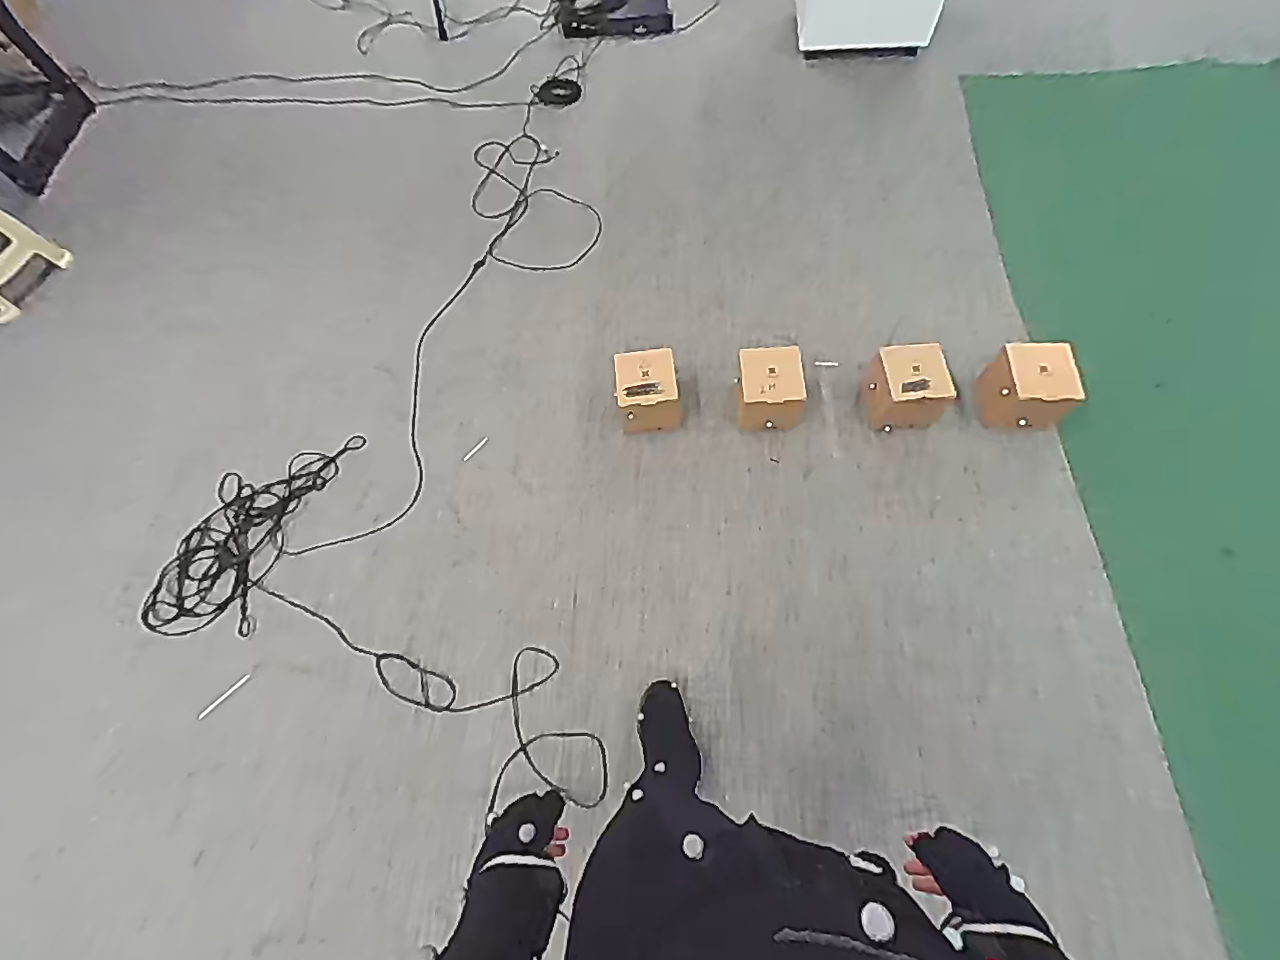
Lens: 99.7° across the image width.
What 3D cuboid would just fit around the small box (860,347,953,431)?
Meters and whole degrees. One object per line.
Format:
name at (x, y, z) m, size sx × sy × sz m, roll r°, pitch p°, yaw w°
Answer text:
small box at (0.740, -0.248, 1.521) m, size 0.168 × 0.176 × 0.179 m, roll -3°, pitch 65°, yaw 2°

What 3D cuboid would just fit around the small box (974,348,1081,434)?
small box at (1.063, -0.245, 1.501) m, size 0.168 × 0.176 × 0.179 m, roll 1°, pitch 67°, yaw 5°

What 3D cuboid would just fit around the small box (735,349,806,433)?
small box at (0.366, -0.251, 1.543) m, size 0.168 × 0.176 × 0.179 m, roll -2°, pitch 67°, yaw 4°
